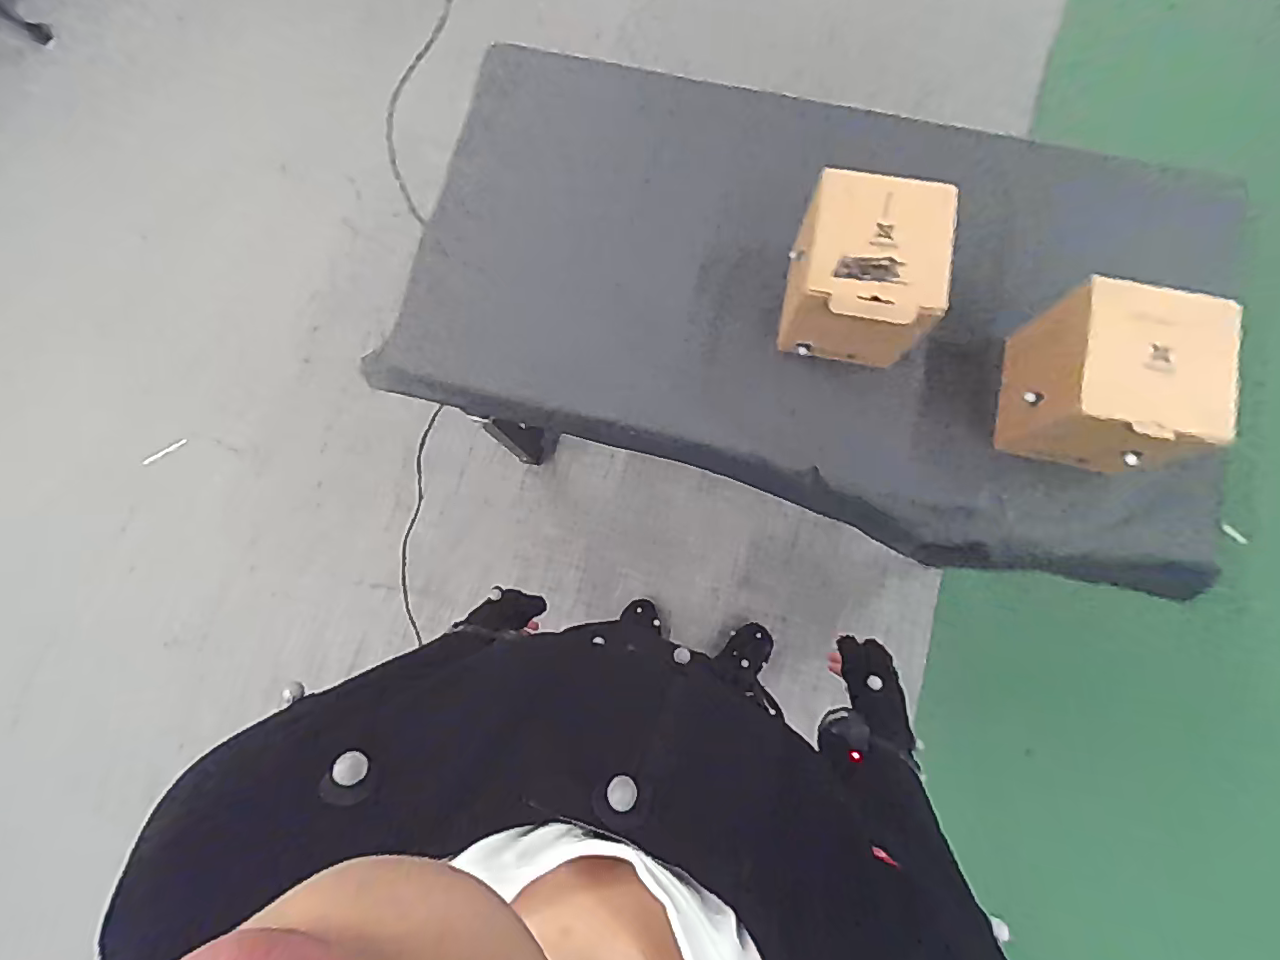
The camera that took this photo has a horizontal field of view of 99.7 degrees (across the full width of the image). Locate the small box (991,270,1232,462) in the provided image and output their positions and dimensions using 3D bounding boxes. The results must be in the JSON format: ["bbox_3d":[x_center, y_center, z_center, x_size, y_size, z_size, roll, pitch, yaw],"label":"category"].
[{"bbox_3d":[0.588,-0.134,0.696,0.168,0.176,0.179,13,79,4],"label":"small box"}]

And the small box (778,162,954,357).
[{"bbox_3d":[0.294,-0.287,0.736,0.168,0.176,0.179,11,80,4],"label":"small box"}]
